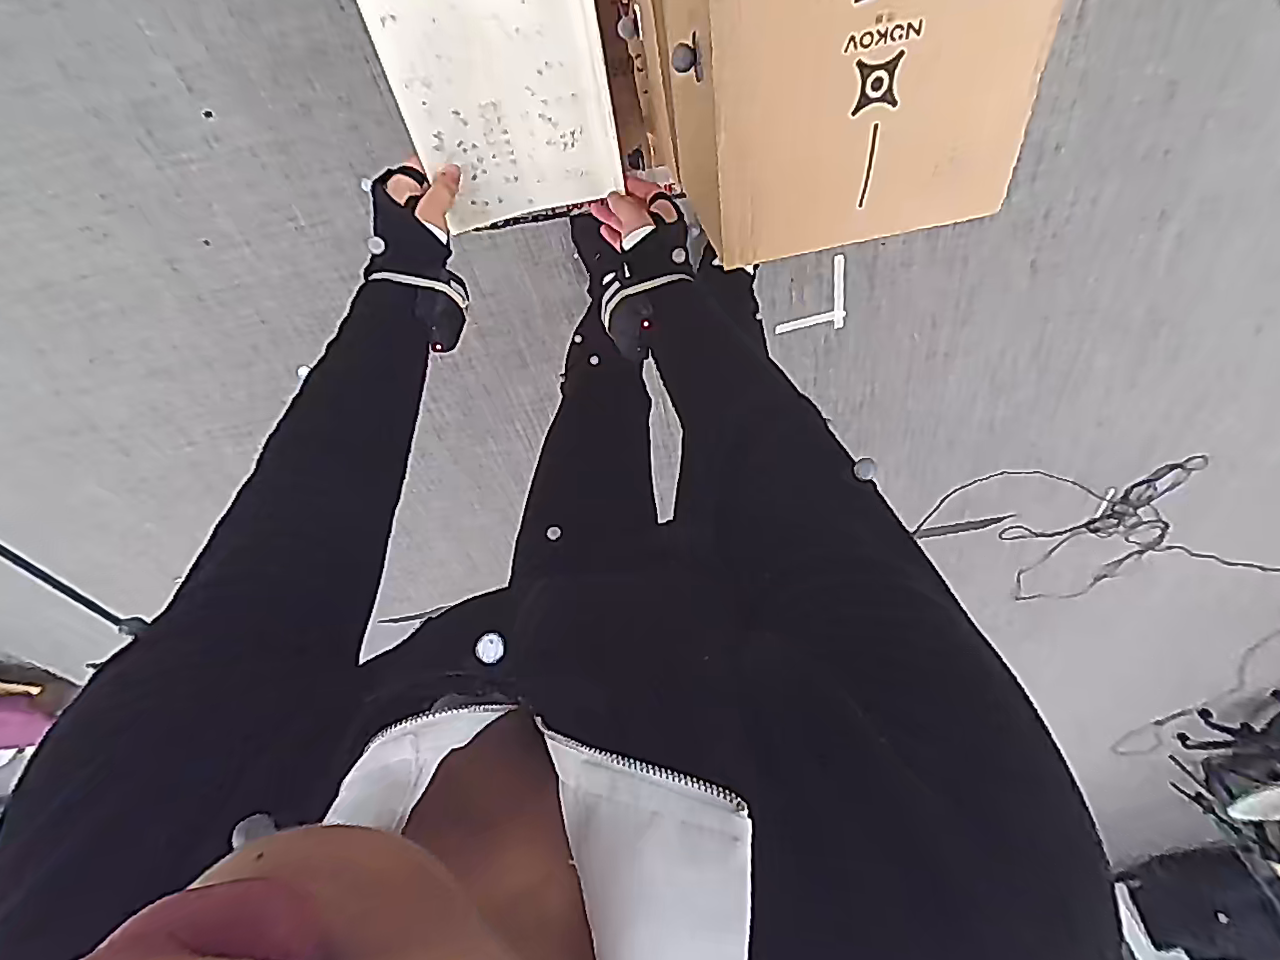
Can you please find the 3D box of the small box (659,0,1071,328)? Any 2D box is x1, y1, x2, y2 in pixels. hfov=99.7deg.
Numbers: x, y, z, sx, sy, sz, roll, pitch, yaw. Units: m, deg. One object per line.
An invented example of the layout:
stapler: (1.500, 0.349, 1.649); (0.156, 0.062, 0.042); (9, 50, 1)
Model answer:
small box: (0.109, -0.224, 0.333); (0.168, 0.176, 0.179); (-10, 135, 2)

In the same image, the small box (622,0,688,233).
small box: (0.090, -0.338, 0.451); (0.179, 0.176, 0.168); (-12, 134, 5)
